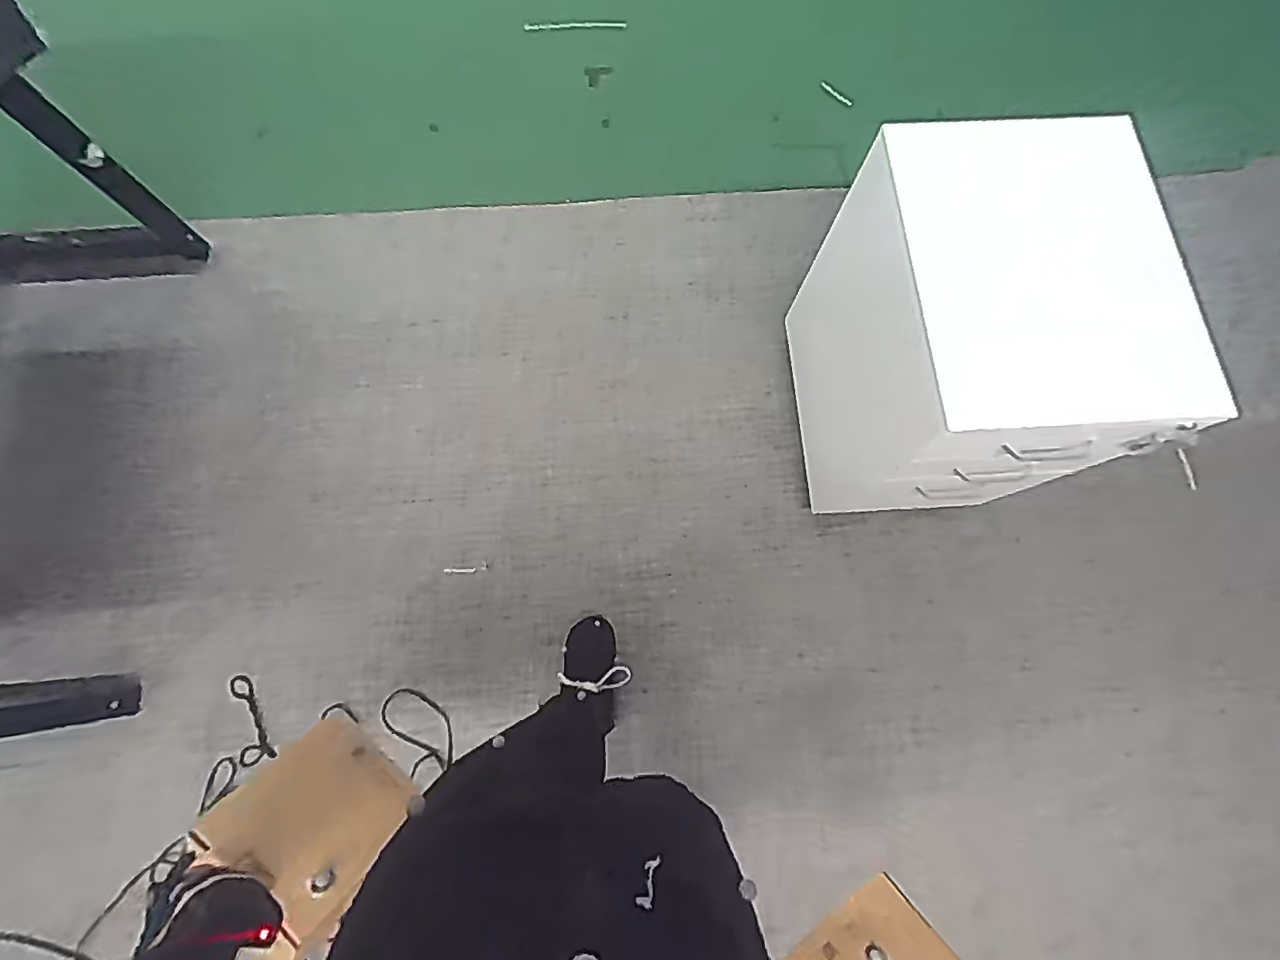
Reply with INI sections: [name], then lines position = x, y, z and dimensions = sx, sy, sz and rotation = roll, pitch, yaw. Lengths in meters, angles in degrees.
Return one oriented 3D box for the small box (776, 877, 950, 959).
[small box]
position = 0.263, 0.584, 0.588
dimensions = 0.168, 0.179, 0.176
rotation = -27, 37, -18
